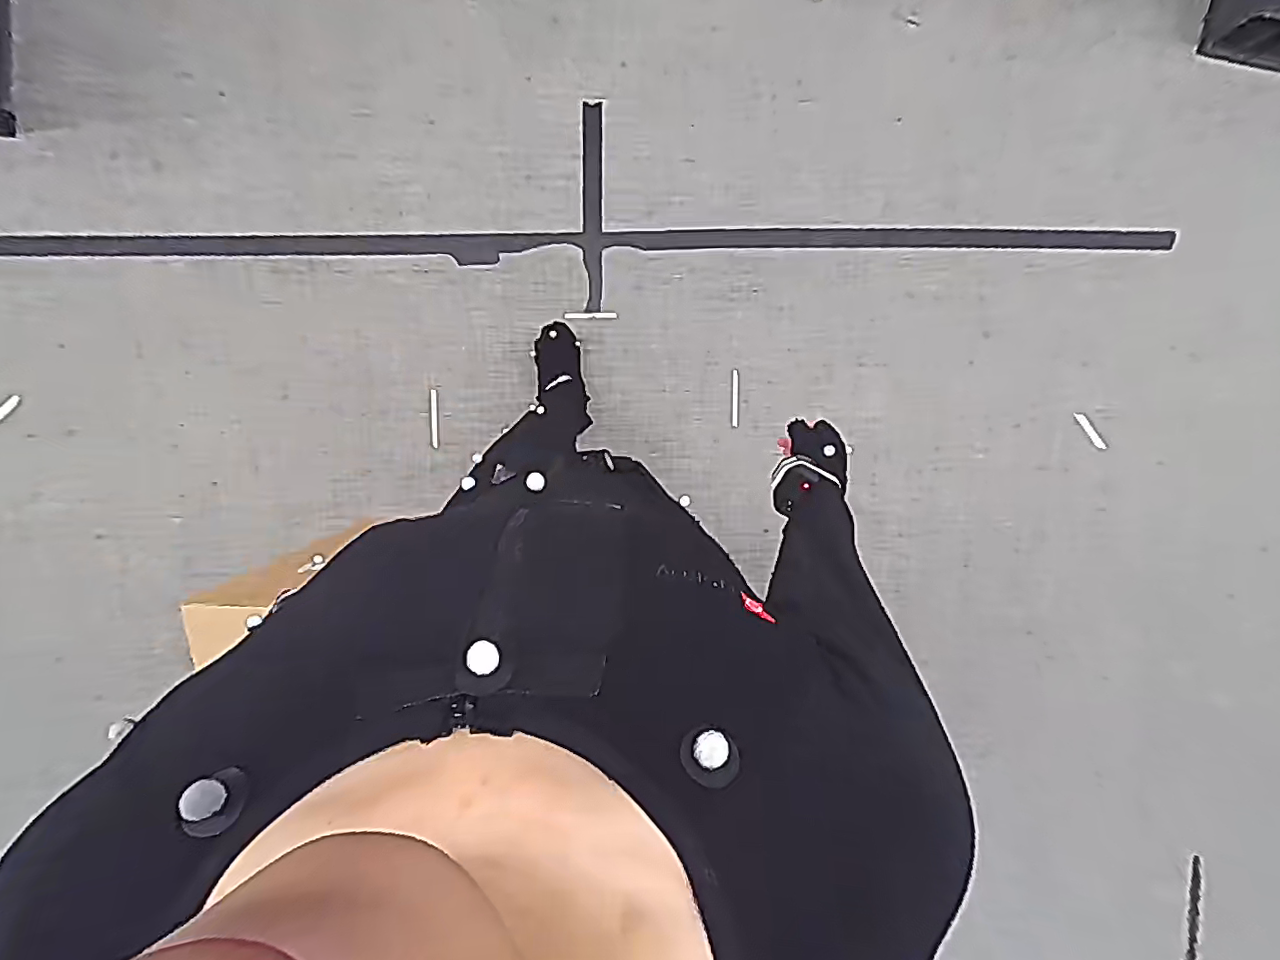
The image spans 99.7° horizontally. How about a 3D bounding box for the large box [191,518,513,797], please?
[{"bbox_3d":[-0.450,0.272,0.958,0.320,0.408,0.320,-2,102,10],"label":"large box"}]
